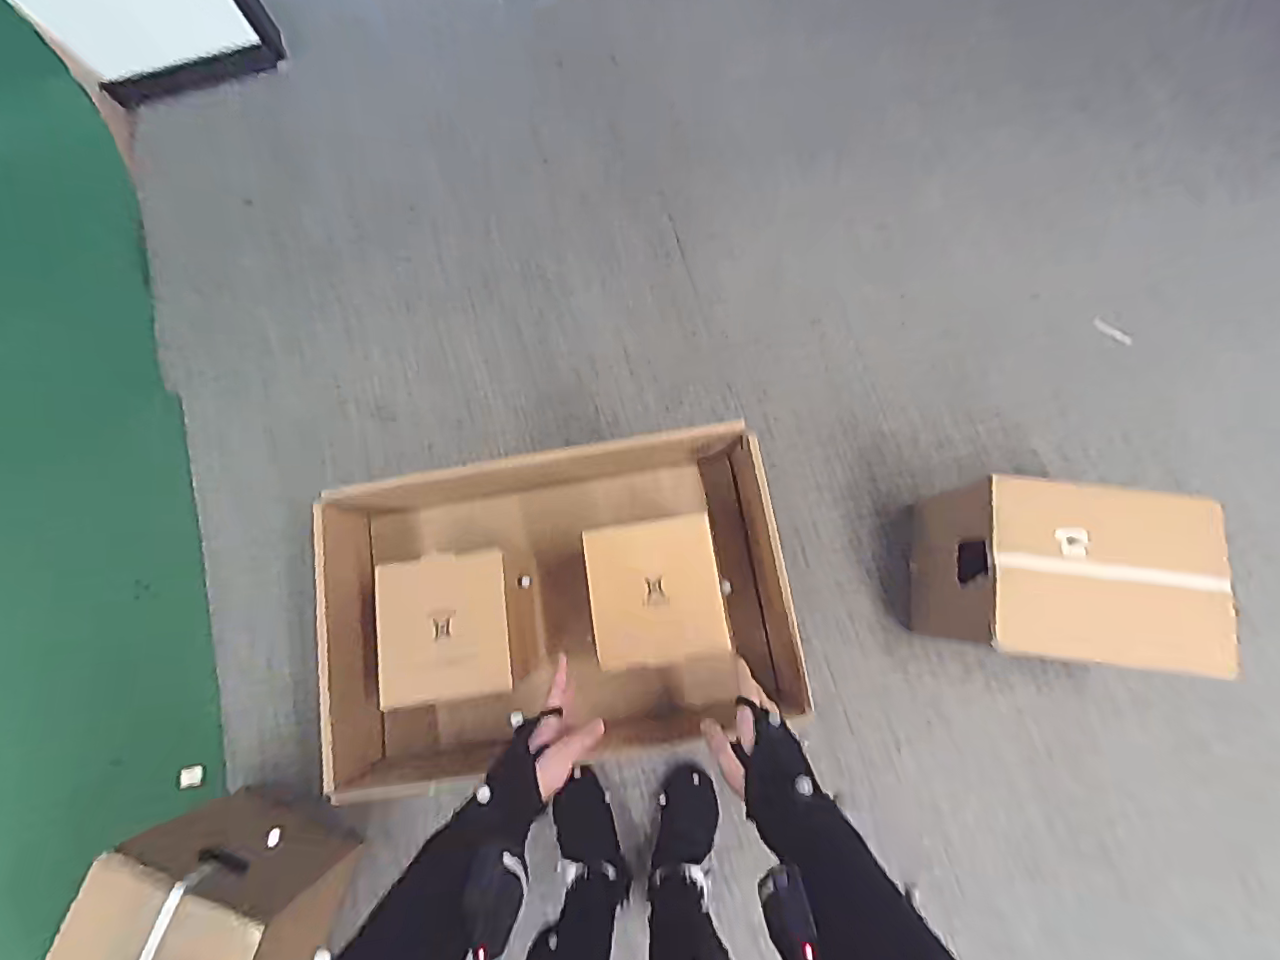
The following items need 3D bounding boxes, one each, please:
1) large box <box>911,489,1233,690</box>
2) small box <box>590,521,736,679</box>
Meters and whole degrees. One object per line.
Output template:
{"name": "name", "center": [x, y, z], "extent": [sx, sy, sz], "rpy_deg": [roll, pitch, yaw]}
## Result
{"name": "large box", "center": [0.816, 0.215, 1.087], "extent": [0.408, 0.320, 0.320], "rpy_deg": [7, 76, 3]}
{"name": "small box", "center": [0.026, 0.164, 0.750], "extent": [0.168, 0.176, 0.179], "rpy_deg": [-8, 78, -1]}
